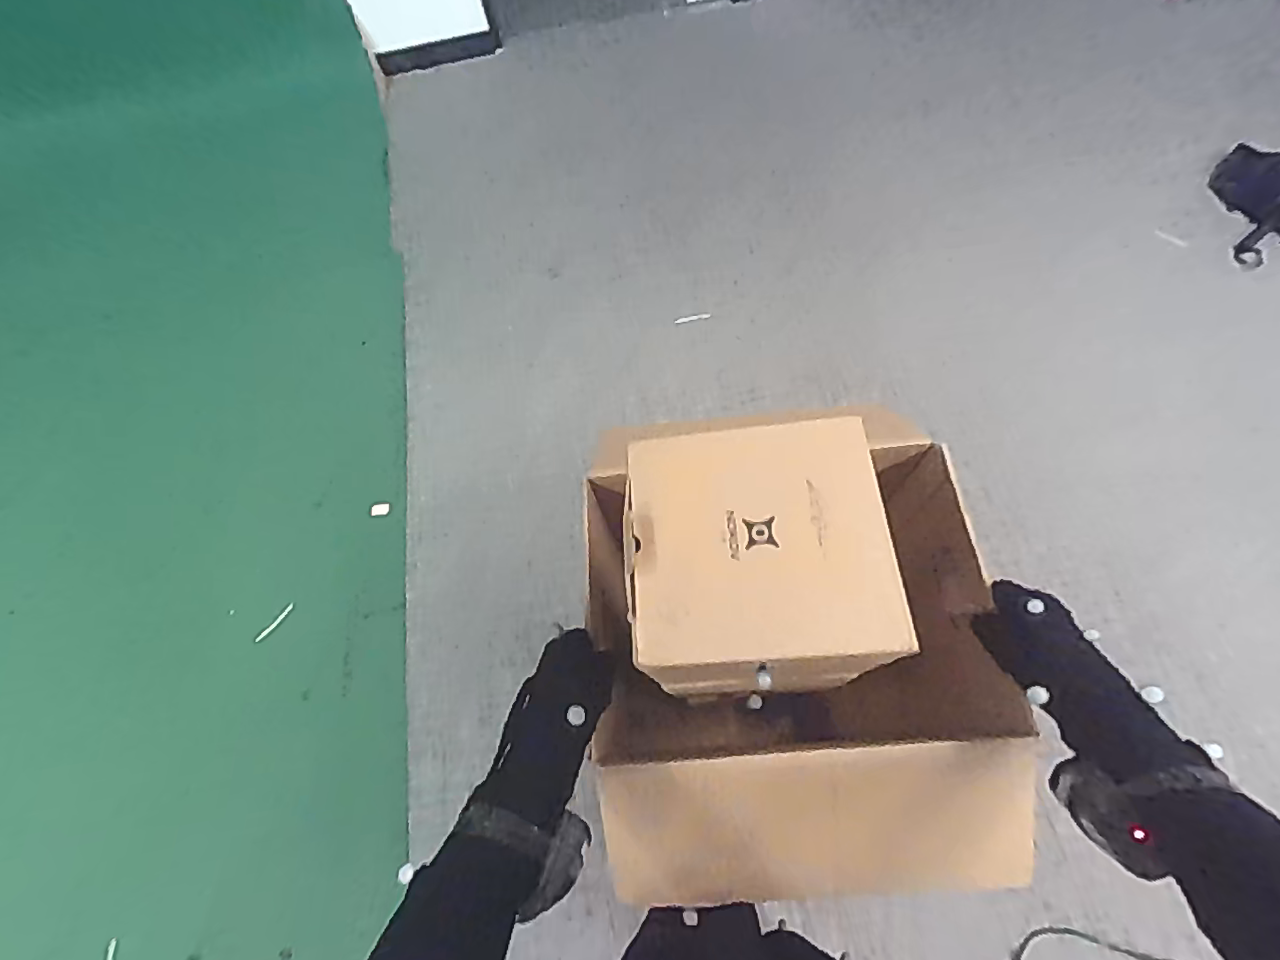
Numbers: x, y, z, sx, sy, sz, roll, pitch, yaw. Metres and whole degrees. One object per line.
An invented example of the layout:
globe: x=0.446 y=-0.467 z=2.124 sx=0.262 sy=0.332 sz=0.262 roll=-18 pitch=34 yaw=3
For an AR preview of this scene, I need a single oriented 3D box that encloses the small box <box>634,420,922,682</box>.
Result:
small box: x=0.098 y=0.071 z=0.449 sx=0.179 sy=0.176 sz=0.168 roll=-7 pitch=66 yaw=6
